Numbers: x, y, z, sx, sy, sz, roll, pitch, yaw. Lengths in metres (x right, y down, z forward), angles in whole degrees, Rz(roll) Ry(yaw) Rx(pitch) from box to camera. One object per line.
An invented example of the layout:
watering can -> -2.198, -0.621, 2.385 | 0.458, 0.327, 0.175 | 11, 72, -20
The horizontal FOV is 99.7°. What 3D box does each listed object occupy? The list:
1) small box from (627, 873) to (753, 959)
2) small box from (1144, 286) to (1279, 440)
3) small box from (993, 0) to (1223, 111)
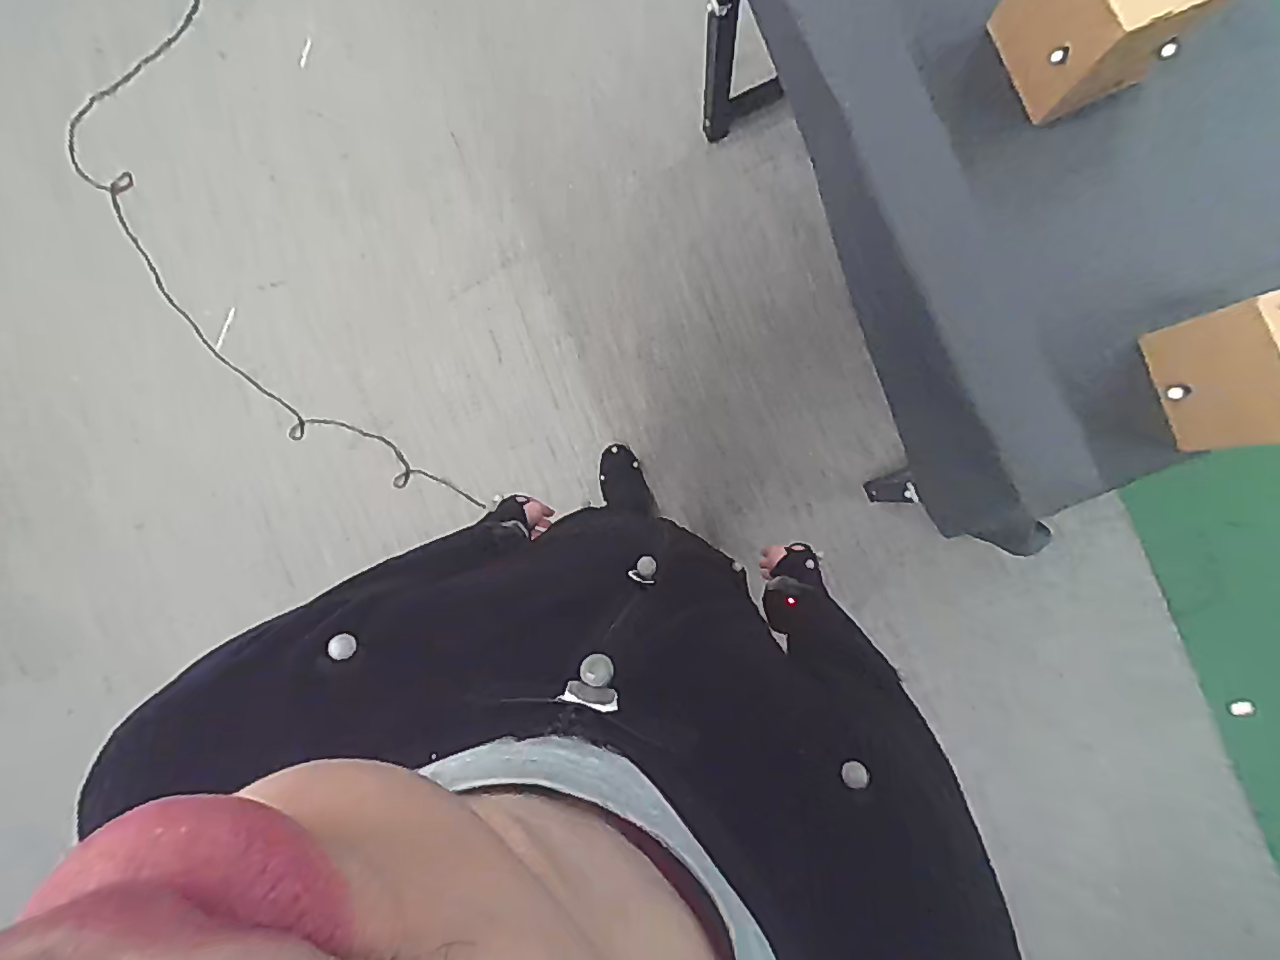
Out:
small box -> 0.084, 0.784, 0.872 | 0.179, 0.176, 0.168 | -22, 88, 6
small box -> 0.817, -0.155, 0.692 | 0.168, 0.176, 0.179 | -19, 88, 4
small box -> 0.619, -0.633, 0.712 | 0.168, 0.176, 0.179 | -24, 87, 2
